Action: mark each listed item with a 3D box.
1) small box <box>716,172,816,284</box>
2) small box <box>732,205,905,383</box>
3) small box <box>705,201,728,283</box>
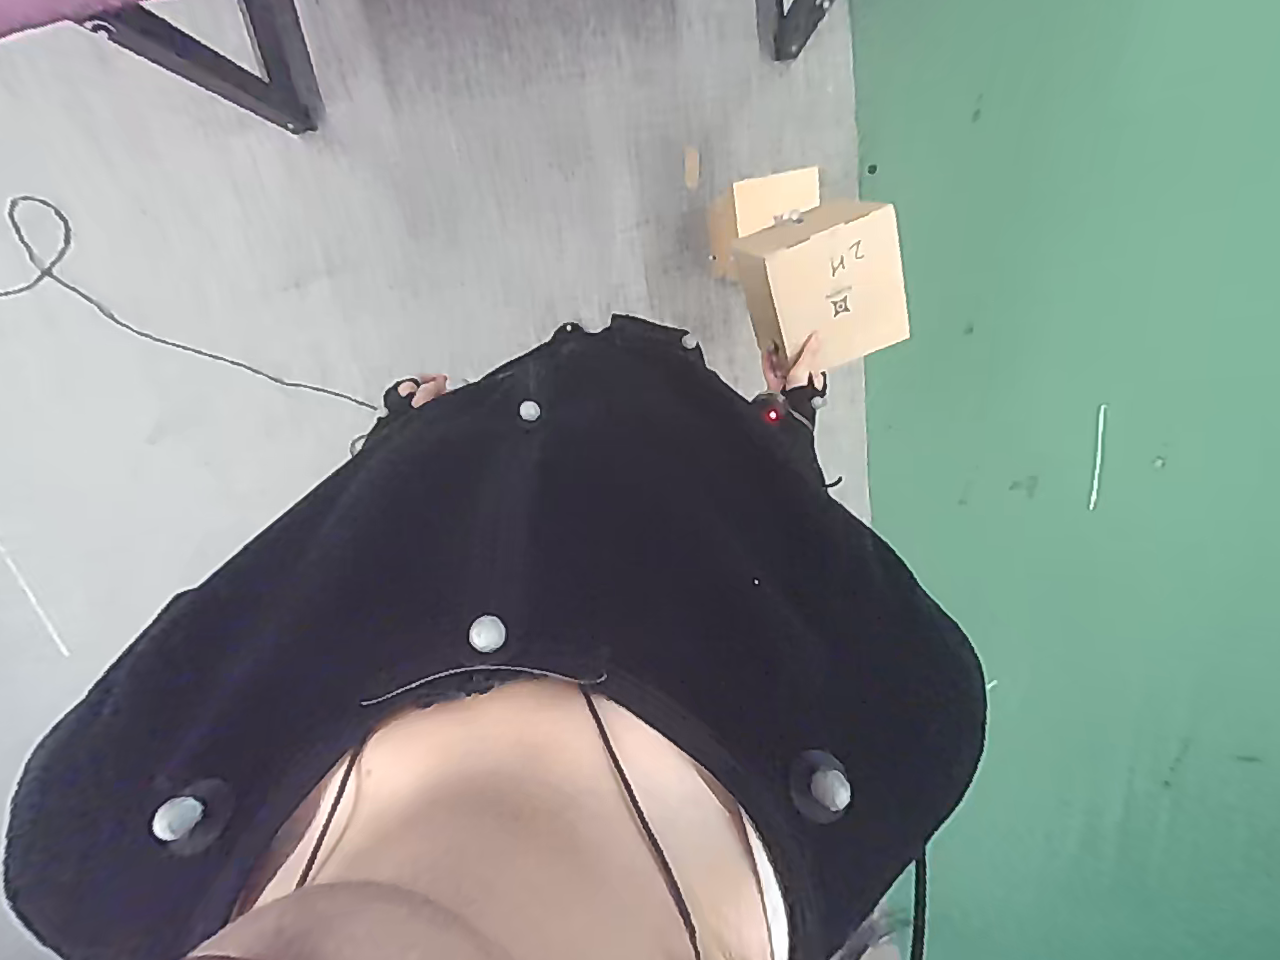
[{"bbox_3d":[0.262,-0.518,1.133,0.168,0.176,0.179,-10,109,1],"label":"small box"},{"bbox_3d":[0.245,-0.267,0.762,0.168,0.176,0.179,-21,119,4],"label":"small box"},{"bbox_3d":[0.251,-0.568,1.286,0.179,0.176,0.168,-8,108,0],"label":"small box"}]
